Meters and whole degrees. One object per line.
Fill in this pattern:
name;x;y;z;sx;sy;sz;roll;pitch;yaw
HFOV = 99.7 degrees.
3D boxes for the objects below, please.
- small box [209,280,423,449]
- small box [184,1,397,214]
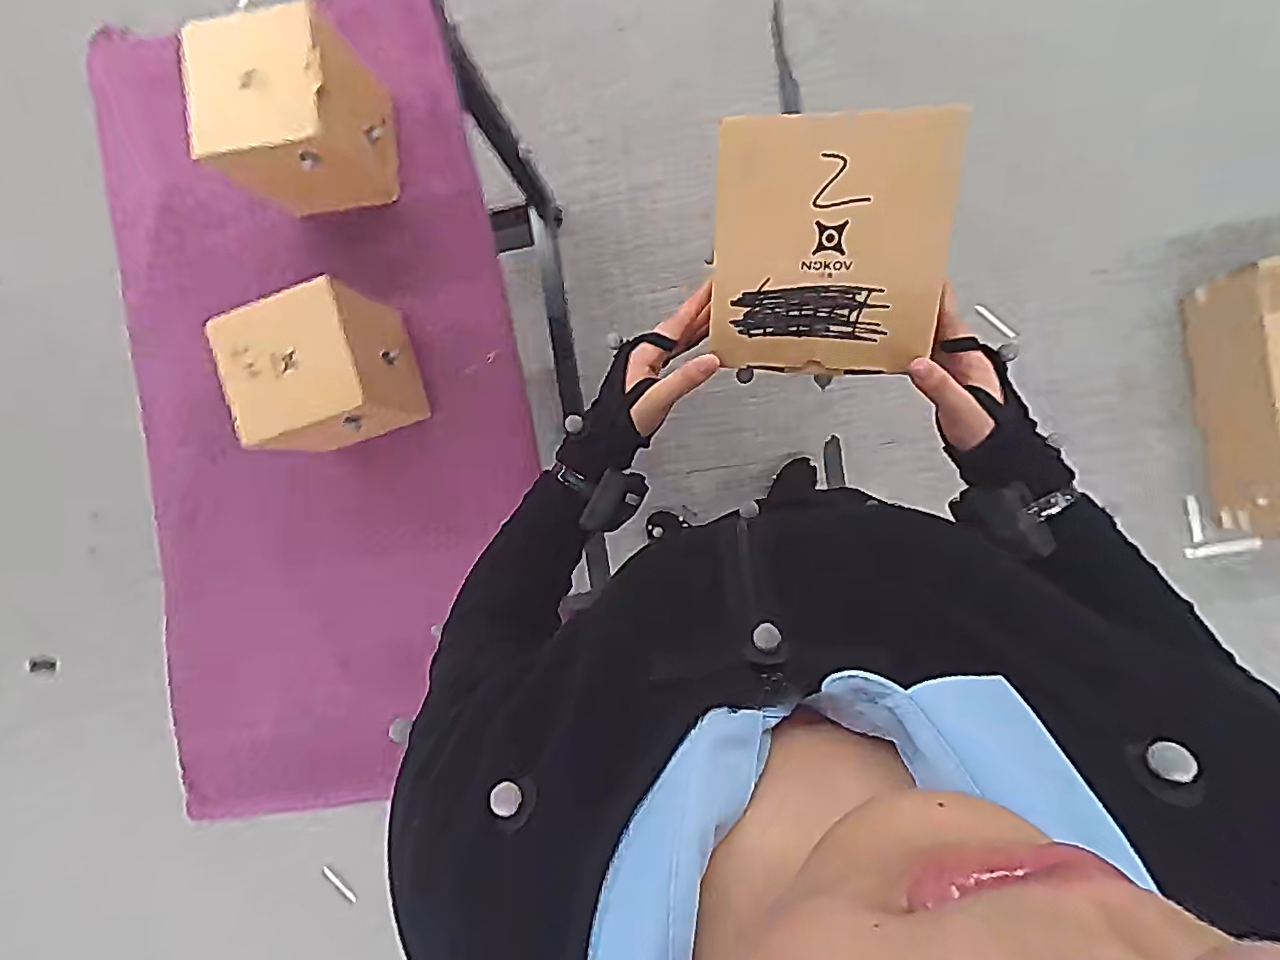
small box;-0.426;-0.146;0.746;0.179;0.176;0.168;-18;89;7
small box;-0.465;-0.489;0.740;0.179;0.176;0.168;-4;92;8
